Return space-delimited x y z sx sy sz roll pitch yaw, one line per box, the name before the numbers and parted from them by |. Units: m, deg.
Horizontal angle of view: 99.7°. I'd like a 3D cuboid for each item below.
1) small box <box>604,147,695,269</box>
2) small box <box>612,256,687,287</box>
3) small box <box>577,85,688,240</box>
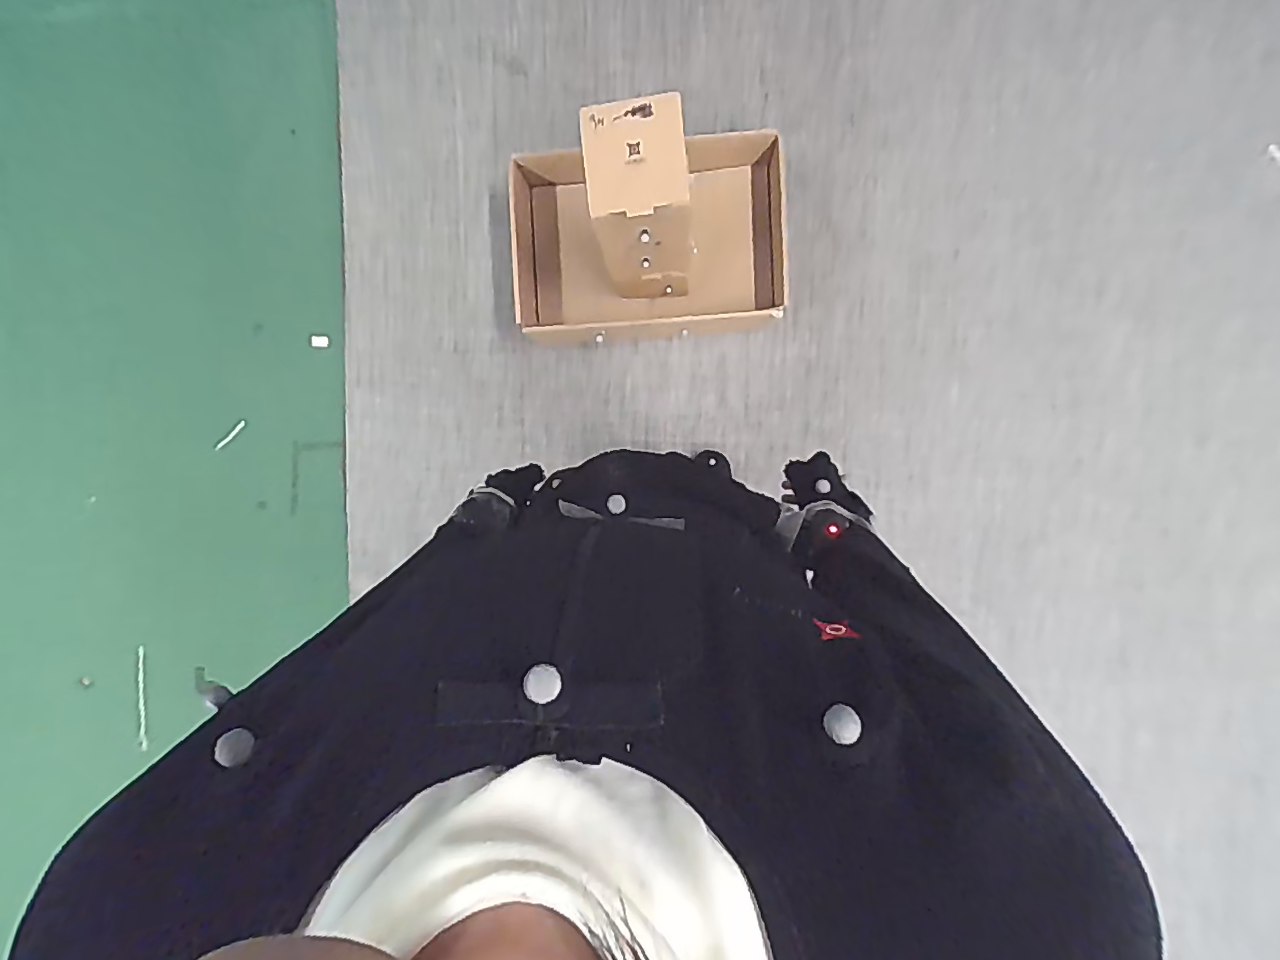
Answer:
small box | 0.014 -0.545 1.104 0.179 0.176 0.168 -6 94 4
small box | 0.026 -0.559 1.266 0.168 0.176 0.179 -1 93 5
small box | -0.005 -0.535 0.941 0.168 0.176 0.179 -5 94 6
